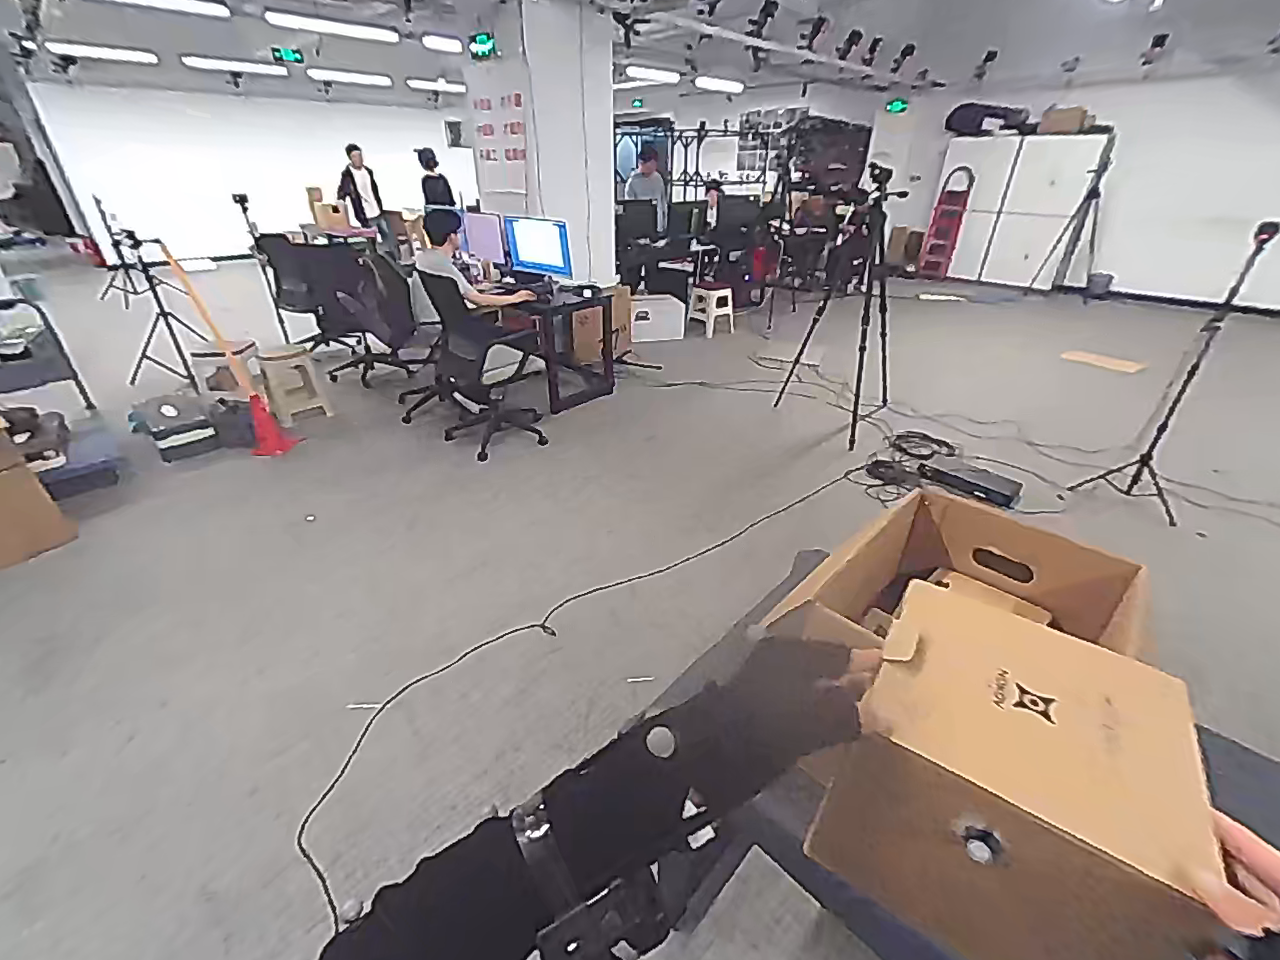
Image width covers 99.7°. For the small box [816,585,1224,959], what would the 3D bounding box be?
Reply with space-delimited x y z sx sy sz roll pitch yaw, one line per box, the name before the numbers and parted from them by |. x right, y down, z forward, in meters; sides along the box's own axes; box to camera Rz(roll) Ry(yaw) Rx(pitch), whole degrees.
small box | 0.248 0.215 0.393 0.179 0.176 0.168 23 37 28
